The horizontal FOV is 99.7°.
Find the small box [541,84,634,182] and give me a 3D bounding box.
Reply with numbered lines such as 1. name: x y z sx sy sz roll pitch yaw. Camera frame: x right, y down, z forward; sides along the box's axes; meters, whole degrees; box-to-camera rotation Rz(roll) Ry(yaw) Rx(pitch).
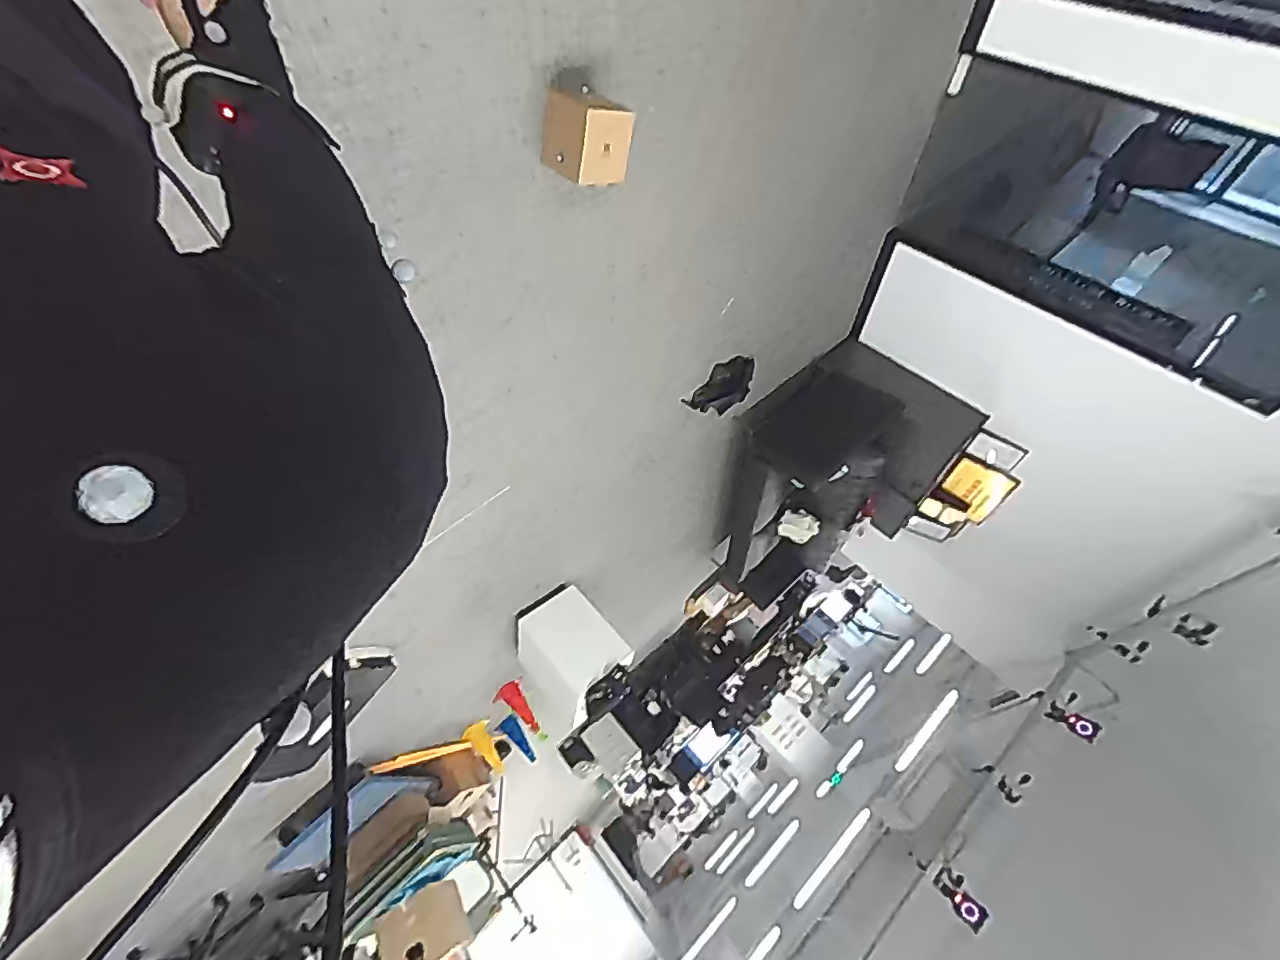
1. small box: -0.145 -0.914 1.428 0.168 0.176 0.179 -29 148 -37
